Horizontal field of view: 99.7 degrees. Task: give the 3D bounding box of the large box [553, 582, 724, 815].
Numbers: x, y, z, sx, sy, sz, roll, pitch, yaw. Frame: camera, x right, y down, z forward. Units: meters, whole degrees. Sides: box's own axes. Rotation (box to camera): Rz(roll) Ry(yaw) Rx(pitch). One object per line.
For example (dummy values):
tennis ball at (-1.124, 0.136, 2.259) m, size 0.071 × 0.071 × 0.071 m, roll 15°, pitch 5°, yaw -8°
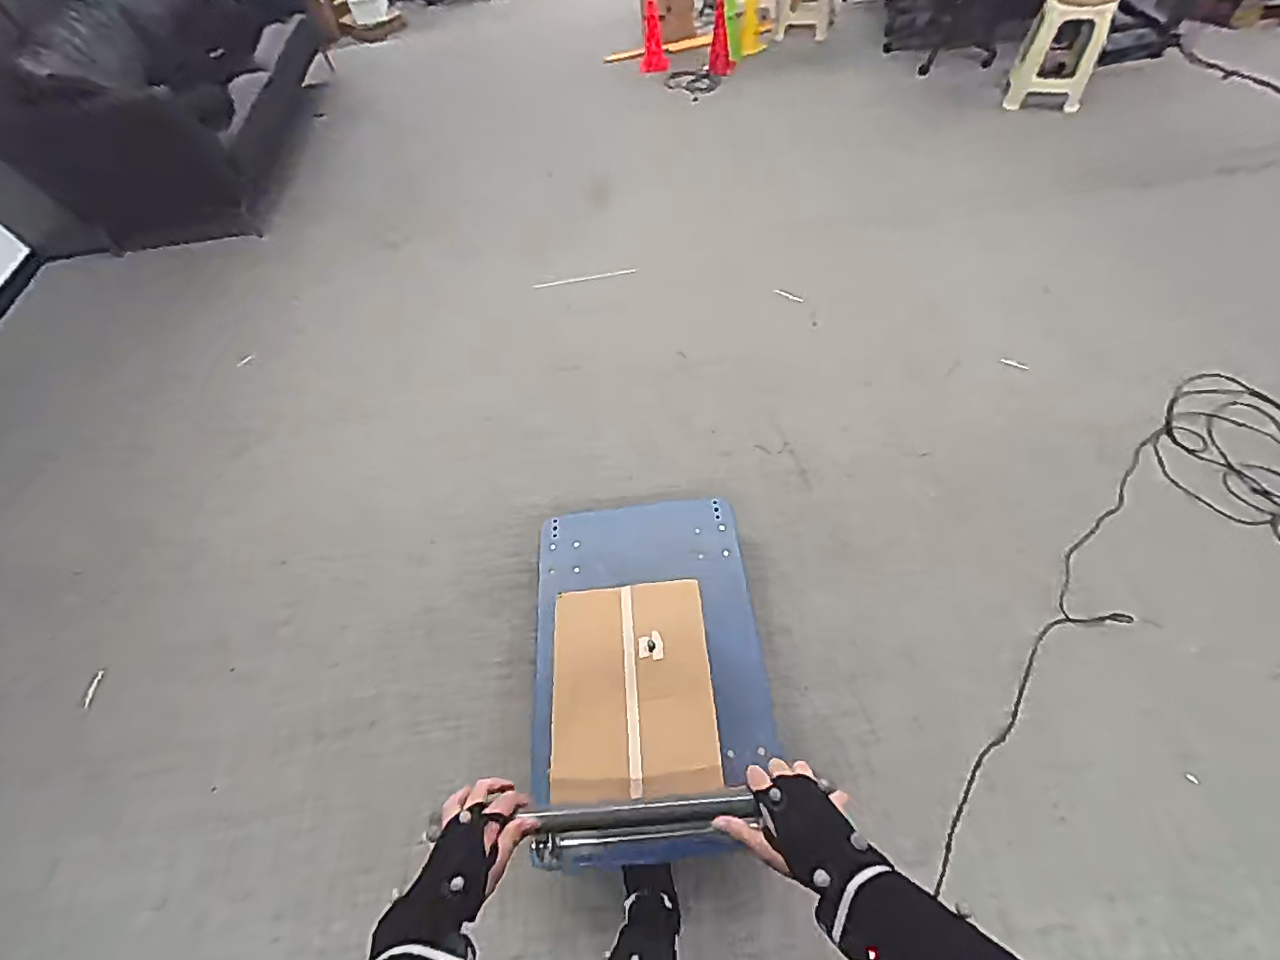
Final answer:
large box at (0.001, 0.486, 1.196) m, size 0.320 × 0.320 × 0.408 m, roll -6°, pitch 55°, yaw 3°
